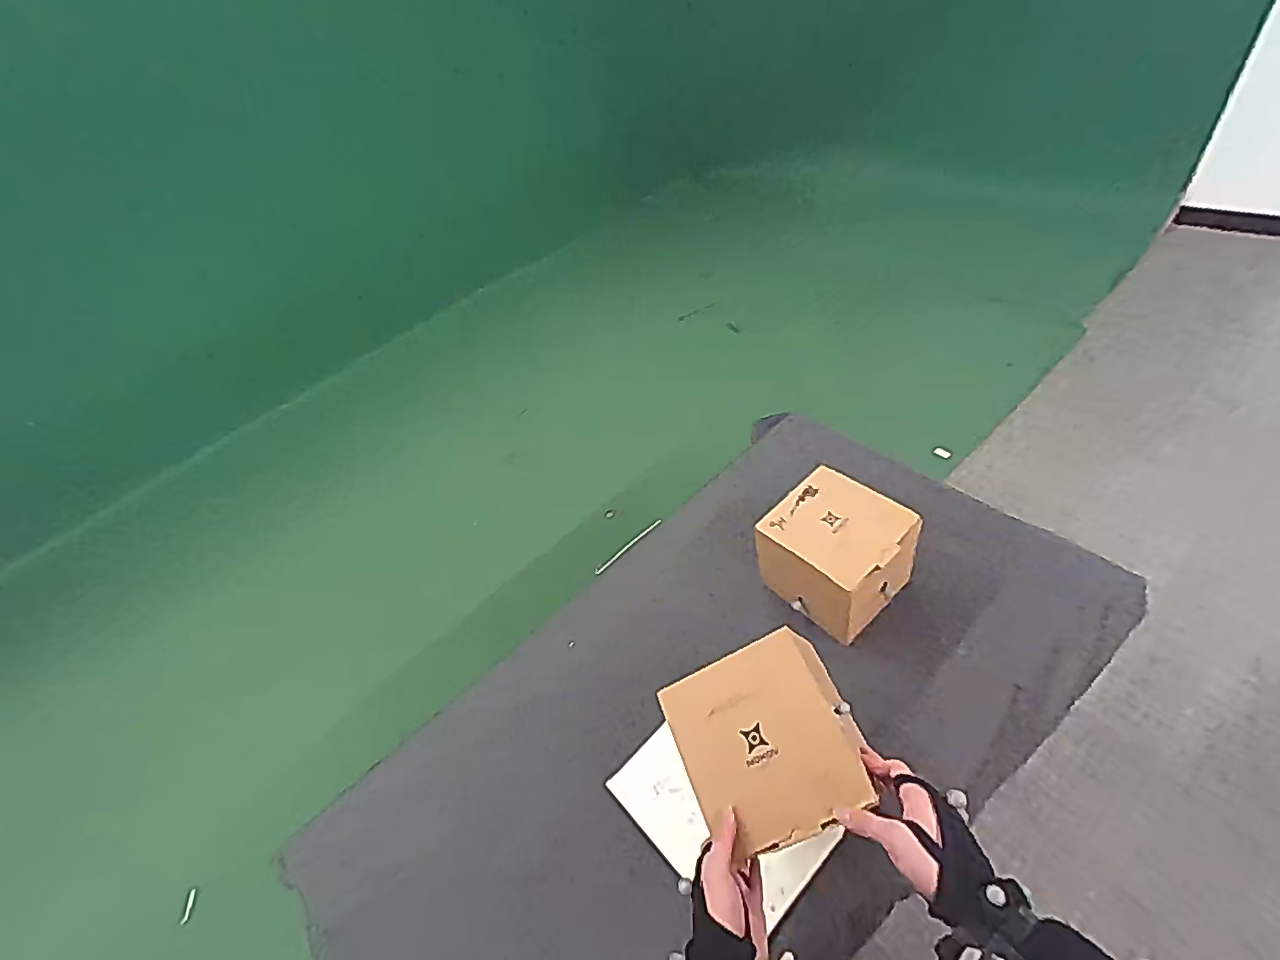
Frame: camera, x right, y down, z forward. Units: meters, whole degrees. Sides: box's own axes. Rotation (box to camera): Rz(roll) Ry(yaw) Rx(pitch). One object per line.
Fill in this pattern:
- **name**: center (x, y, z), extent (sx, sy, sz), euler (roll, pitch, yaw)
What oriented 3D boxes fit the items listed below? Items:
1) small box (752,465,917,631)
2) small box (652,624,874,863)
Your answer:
- **small box**: center (0.303, 0.115, 0.864), extent (0.168, 0.176, 0.179), euler (-38, 51, -18)
- **small box**: center (0.142, 0.284, 0.604), extent (0.168, 0.176, 0.179), euler (-30, 58, 11)
